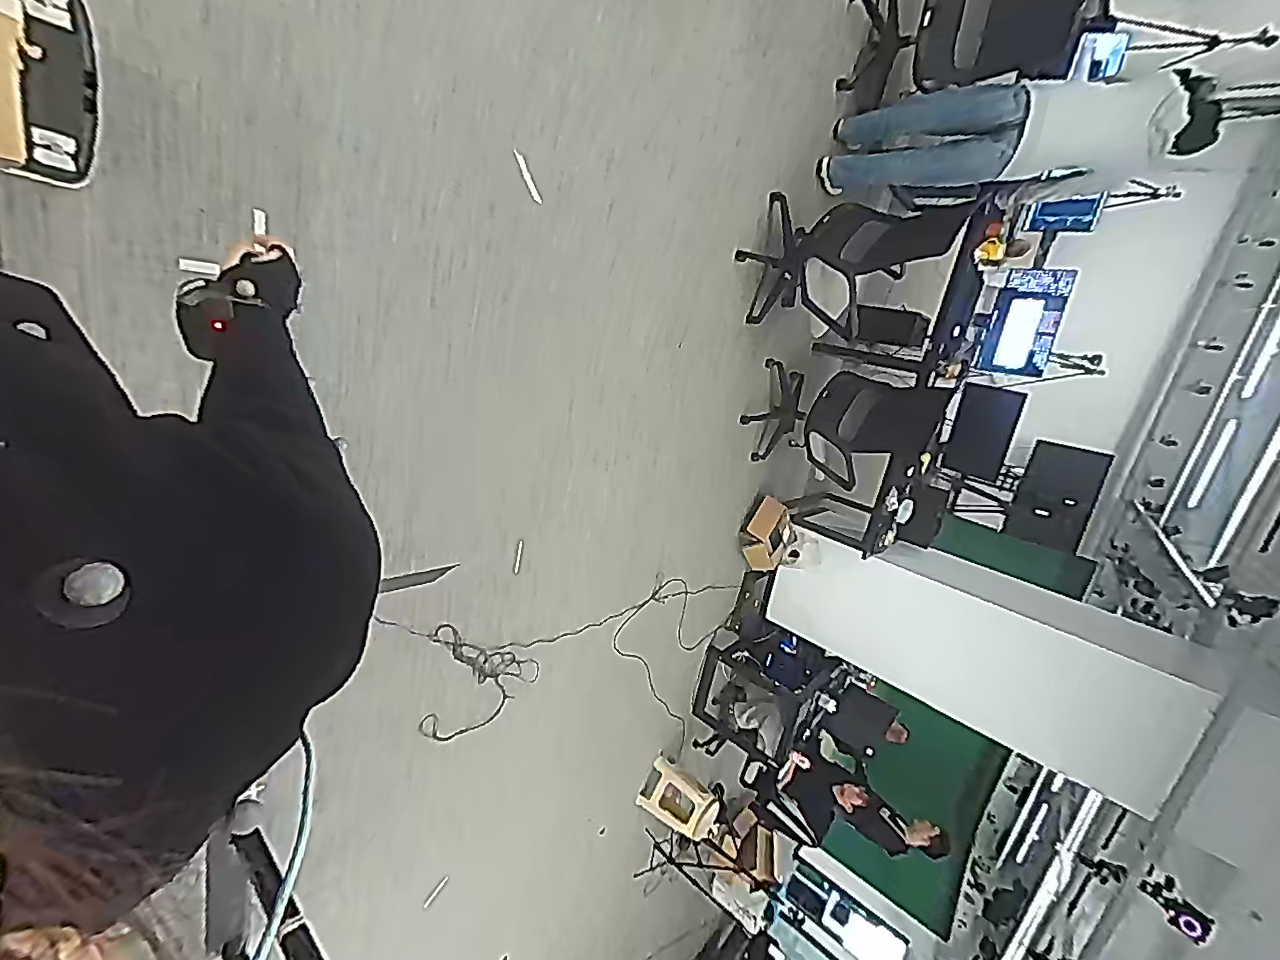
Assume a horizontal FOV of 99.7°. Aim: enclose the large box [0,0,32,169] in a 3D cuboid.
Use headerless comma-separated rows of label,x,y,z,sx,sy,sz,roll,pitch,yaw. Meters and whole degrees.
large box,-0.920,-0.535,0.529,0.408,0.320,0.320,-7,113,-49
